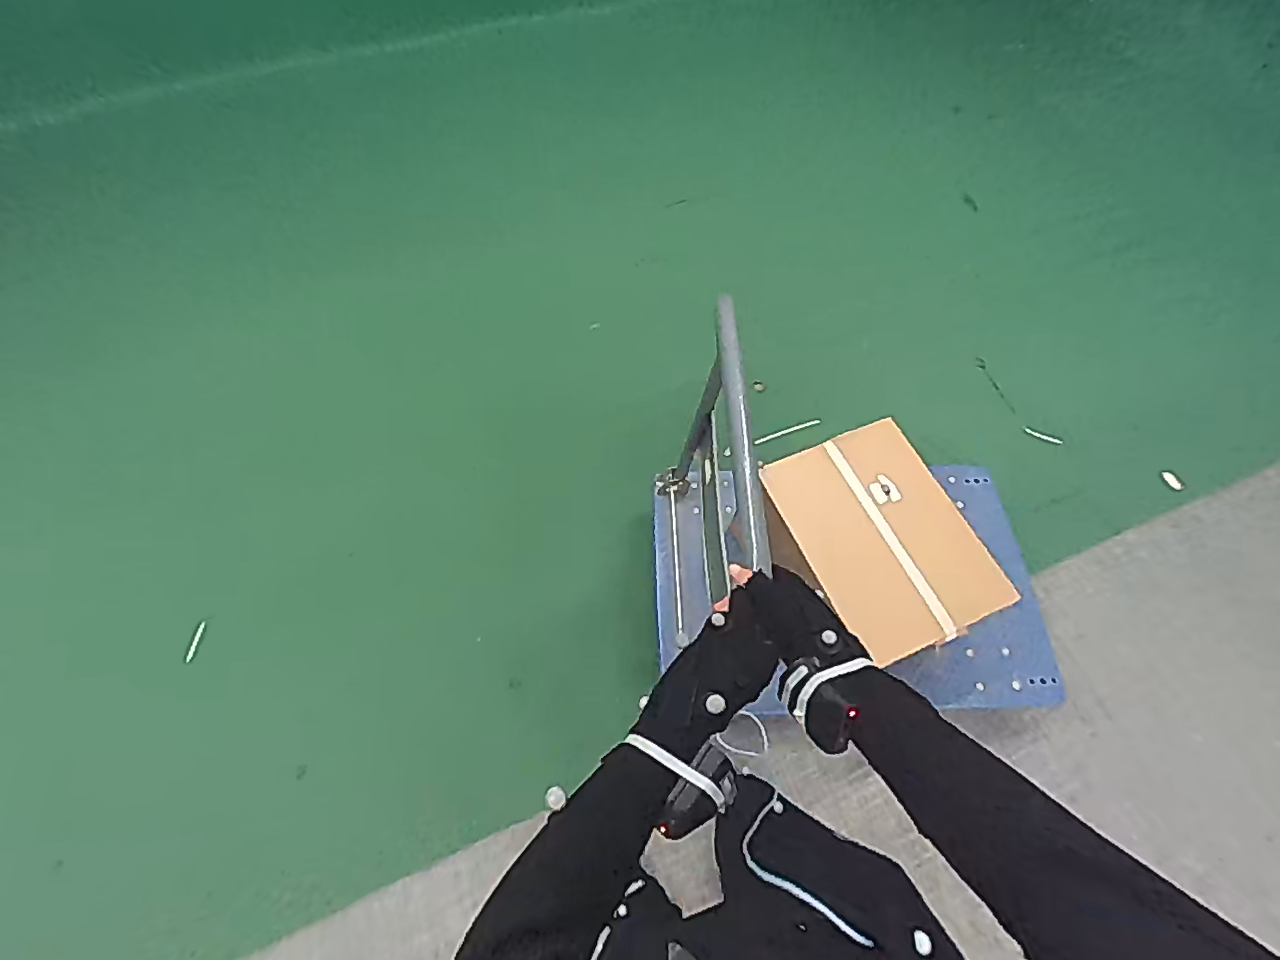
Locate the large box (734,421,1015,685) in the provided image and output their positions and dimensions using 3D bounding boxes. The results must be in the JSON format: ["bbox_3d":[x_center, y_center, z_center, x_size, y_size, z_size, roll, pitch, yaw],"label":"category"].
[{"bbox_3d":[0.439,0.159,1.124,0.320,0.320,0.408,-20,65,-10],"label":"large box"}]
